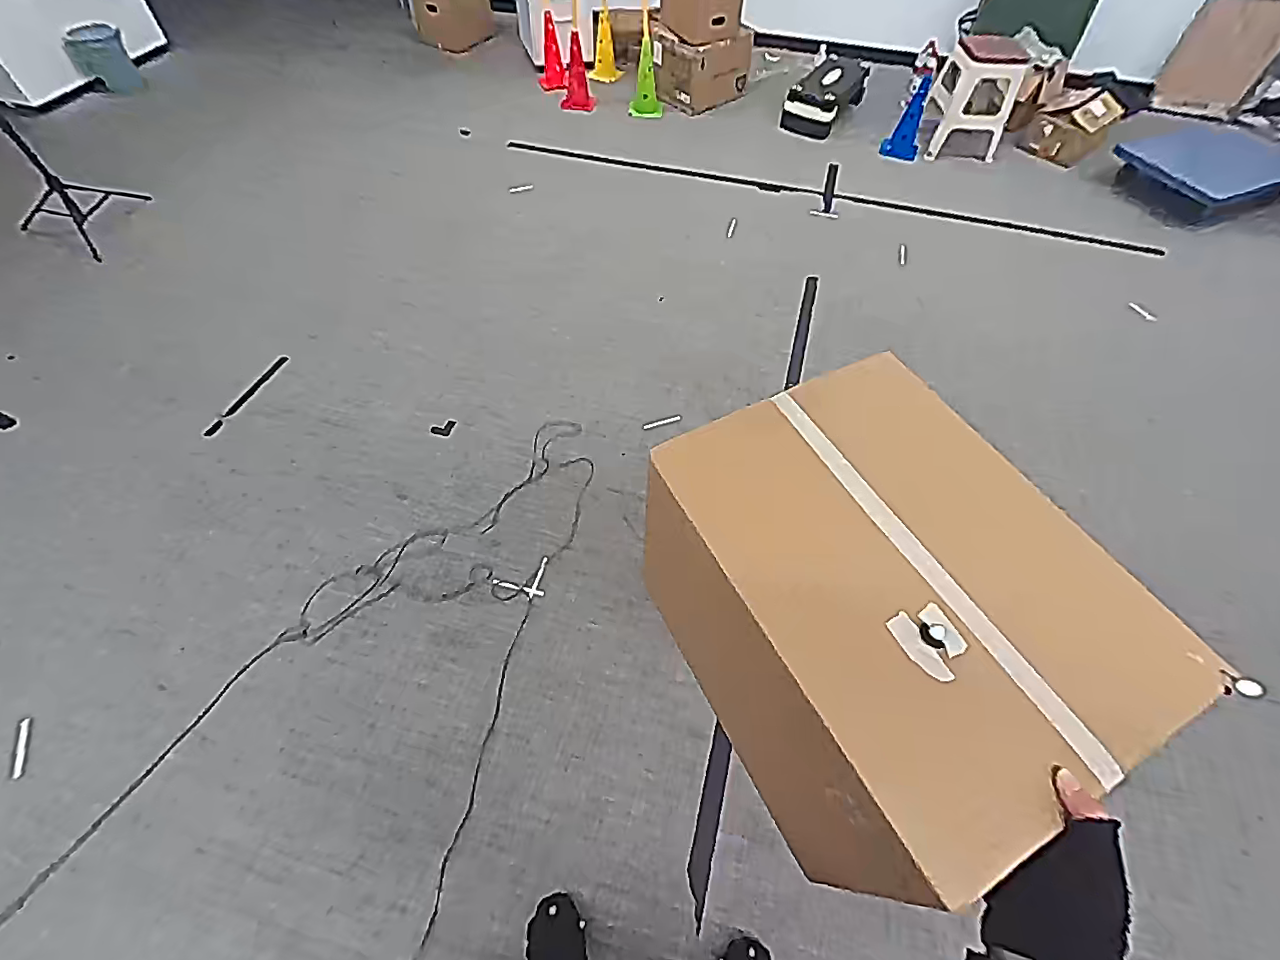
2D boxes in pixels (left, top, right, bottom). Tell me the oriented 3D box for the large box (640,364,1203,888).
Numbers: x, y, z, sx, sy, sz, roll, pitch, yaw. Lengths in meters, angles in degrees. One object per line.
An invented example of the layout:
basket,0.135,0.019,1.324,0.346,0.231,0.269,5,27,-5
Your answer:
large box,0.228,0.148,0.613,0.320,0.320,0.408,-24,61,-15
